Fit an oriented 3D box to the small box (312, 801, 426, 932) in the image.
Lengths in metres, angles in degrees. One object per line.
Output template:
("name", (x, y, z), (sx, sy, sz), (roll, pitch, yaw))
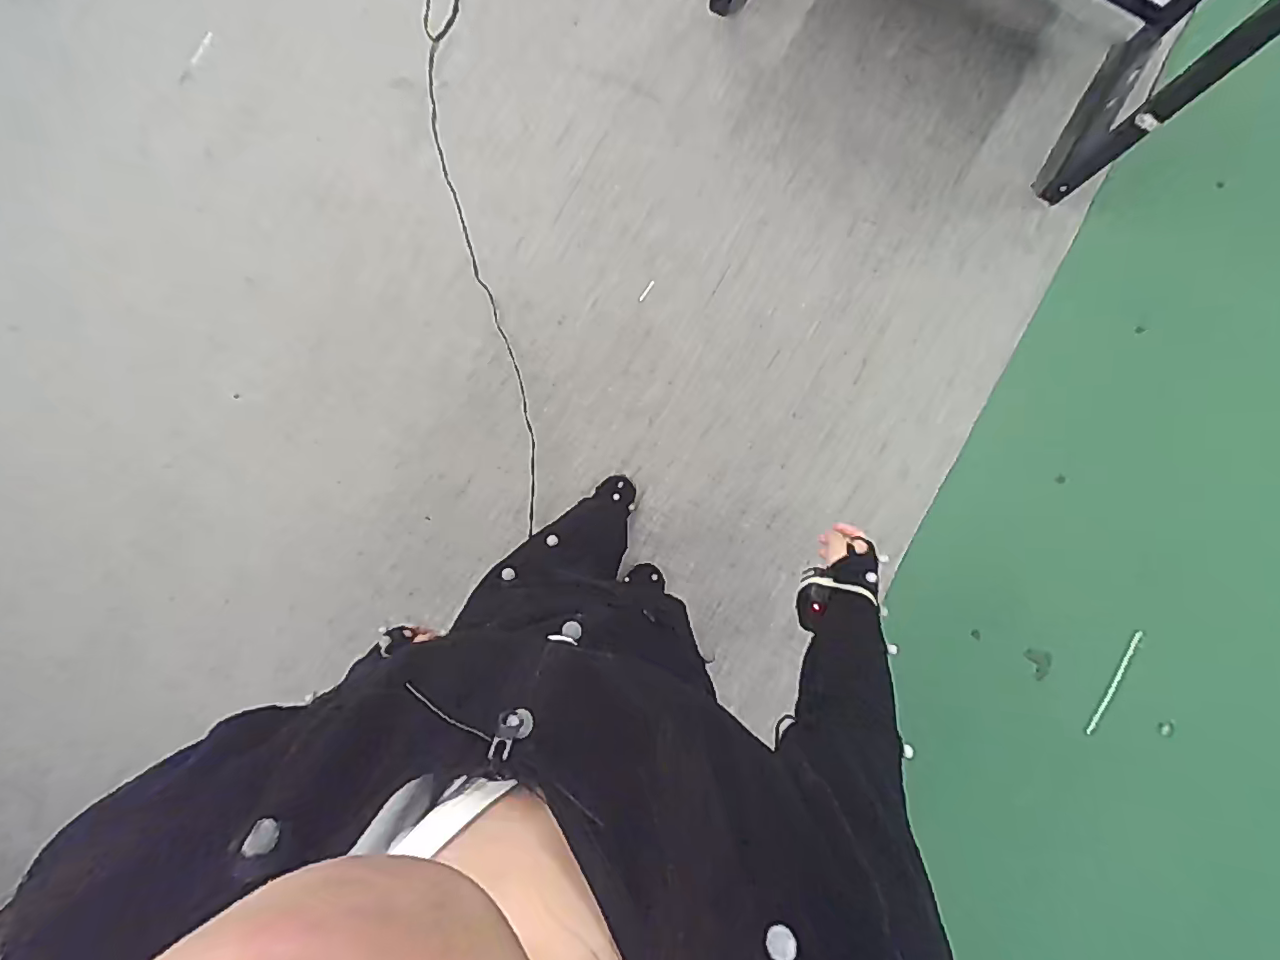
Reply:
("small box", (-0.677, 0.974, 1.384), (0.168, 0.176, 0.179), (36, 87, 3))
